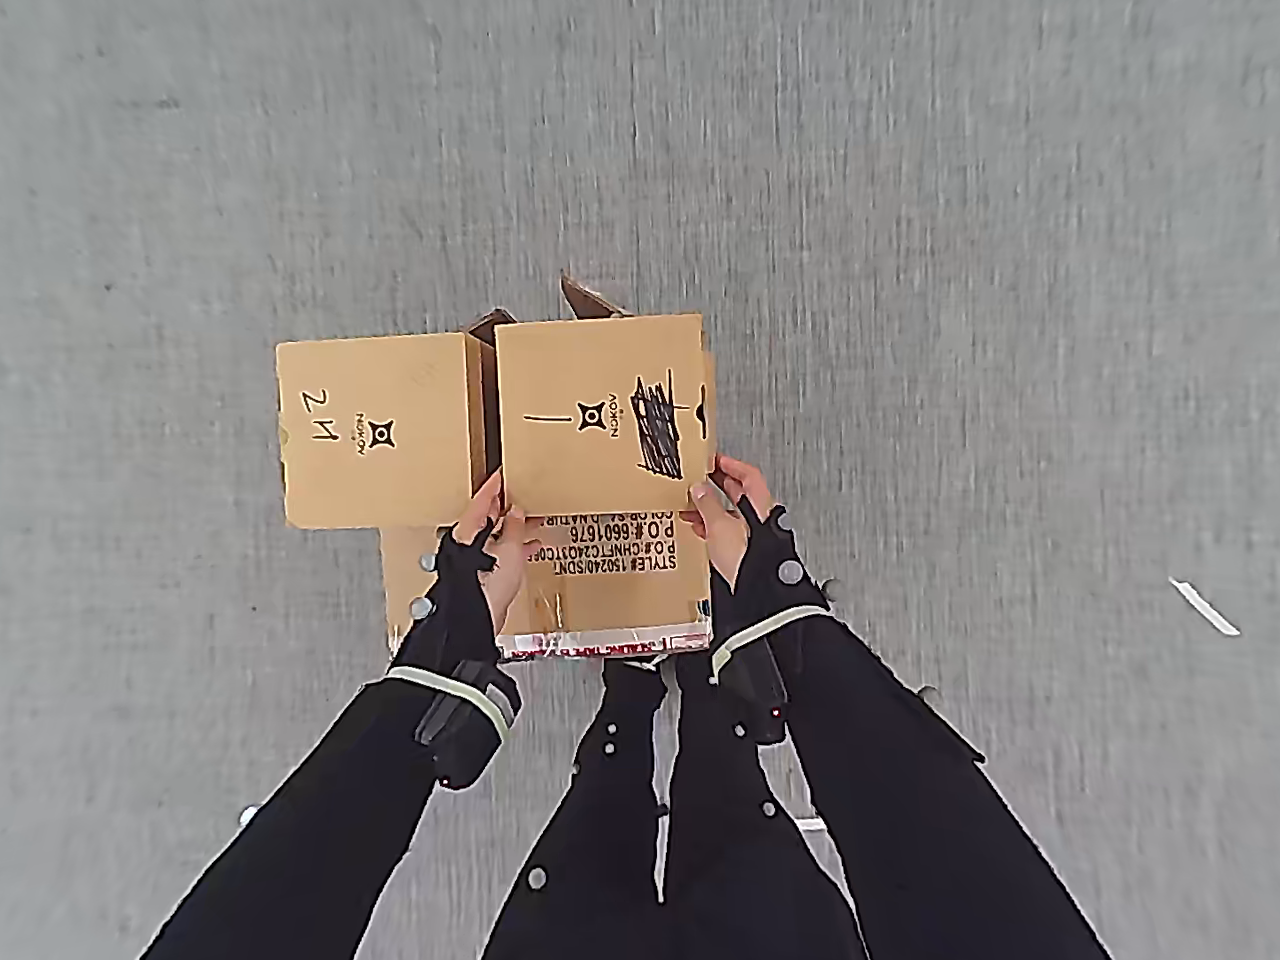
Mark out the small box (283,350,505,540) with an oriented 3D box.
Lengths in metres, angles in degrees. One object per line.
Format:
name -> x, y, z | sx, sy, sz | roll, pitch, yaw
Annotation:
small box -> -0.221, -0.032, 0.553 | 0.179, 0.176, 0.168 | -2, 91, 6

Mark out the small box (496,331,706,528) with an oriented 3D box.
small box -> -0.031, -0.046, 0.542 | 0.179, 0.176, 0.168 | -3, 92, 3
